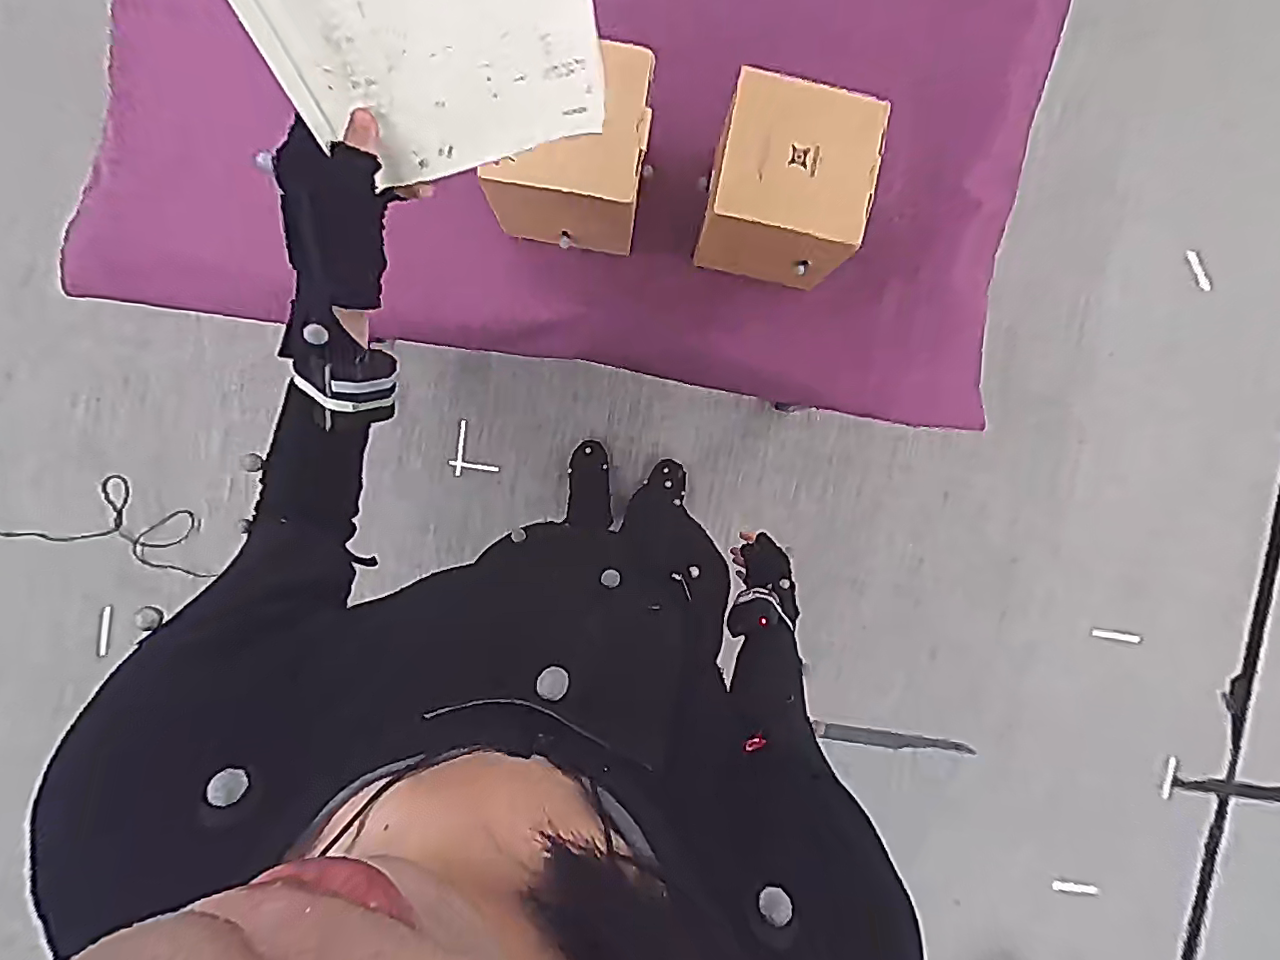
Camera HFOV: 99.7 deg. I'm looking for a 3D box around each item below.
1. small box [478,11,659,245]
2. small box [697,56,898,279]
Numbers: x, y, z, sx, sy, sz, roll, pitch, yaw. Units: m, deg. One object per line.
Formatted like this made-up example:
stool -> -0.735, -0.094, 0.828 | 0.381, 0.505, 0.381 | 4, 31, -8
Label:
small box -> -0.082, -0.405, 0.657 | 0.179, 0.176, 0.168 | 8, 93, -4
small box -> 0.180, -0.368, 0.674 | 0.179, 0.176, 0.168 | 12, 92, -2
